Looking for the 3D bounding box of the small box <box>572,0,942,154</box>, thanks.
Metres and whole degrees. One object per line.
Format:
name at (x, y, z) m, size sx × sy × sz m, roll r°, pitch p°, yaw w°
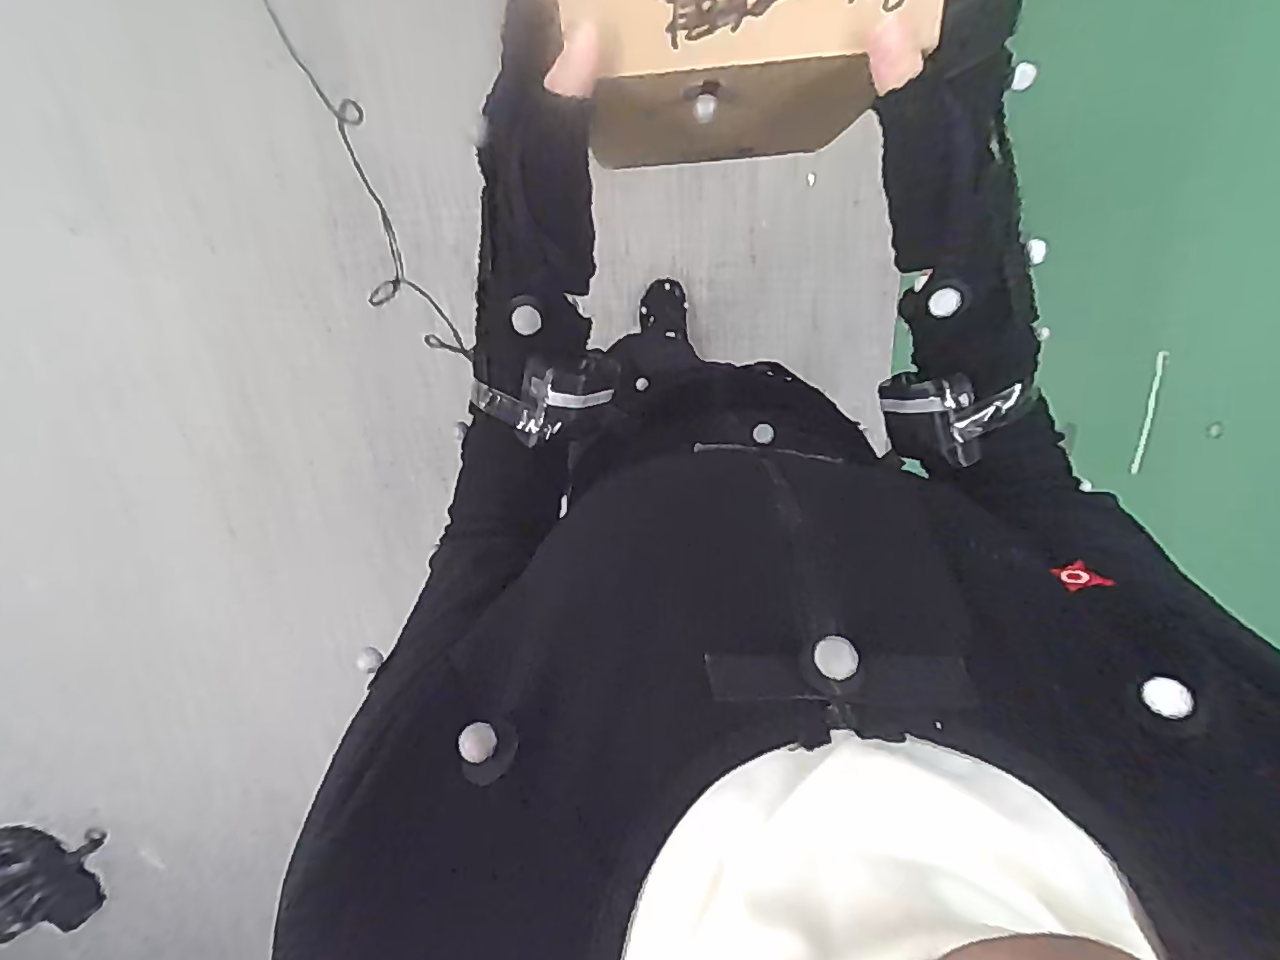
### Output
small box at (0.042, -0.303, 0.291) m, size 0.168 × 0.176 × 0.179 m, roll -6°, pitch 108°, yaw 1°
